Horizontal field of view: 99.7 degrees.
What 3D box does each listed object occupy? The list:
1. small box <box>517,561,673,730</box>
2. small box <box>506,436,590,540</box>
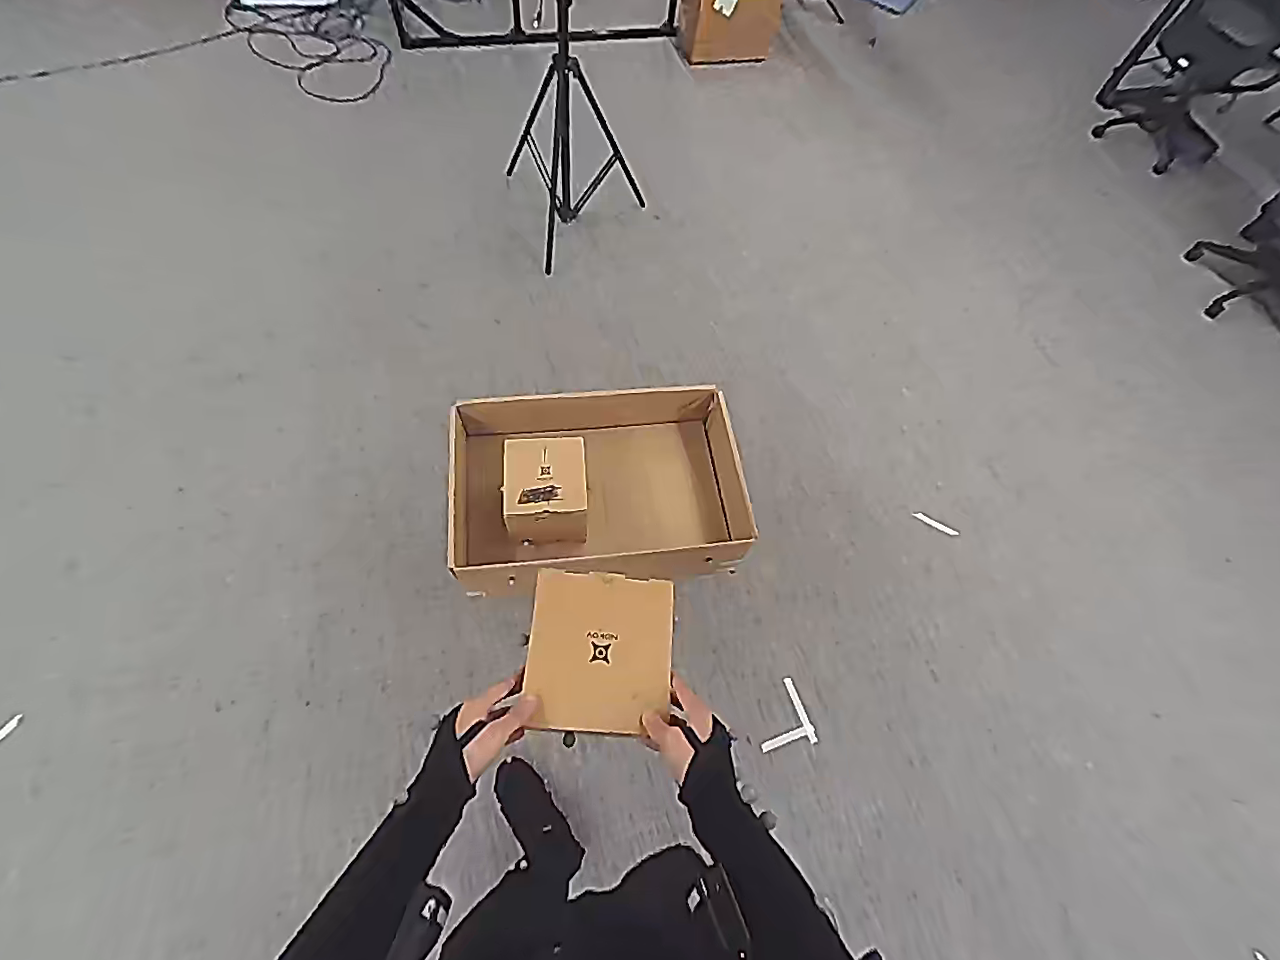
[{"bbox_3d":[-0.056,0.217,0.687,0.168,0.176,0.179,7,63,-6],"label":"small box"},{"bbox_3d":[-0.192,0.024,1.163,0.168,0.176,0.179,-2,62,-8],"label":"small box"}]
